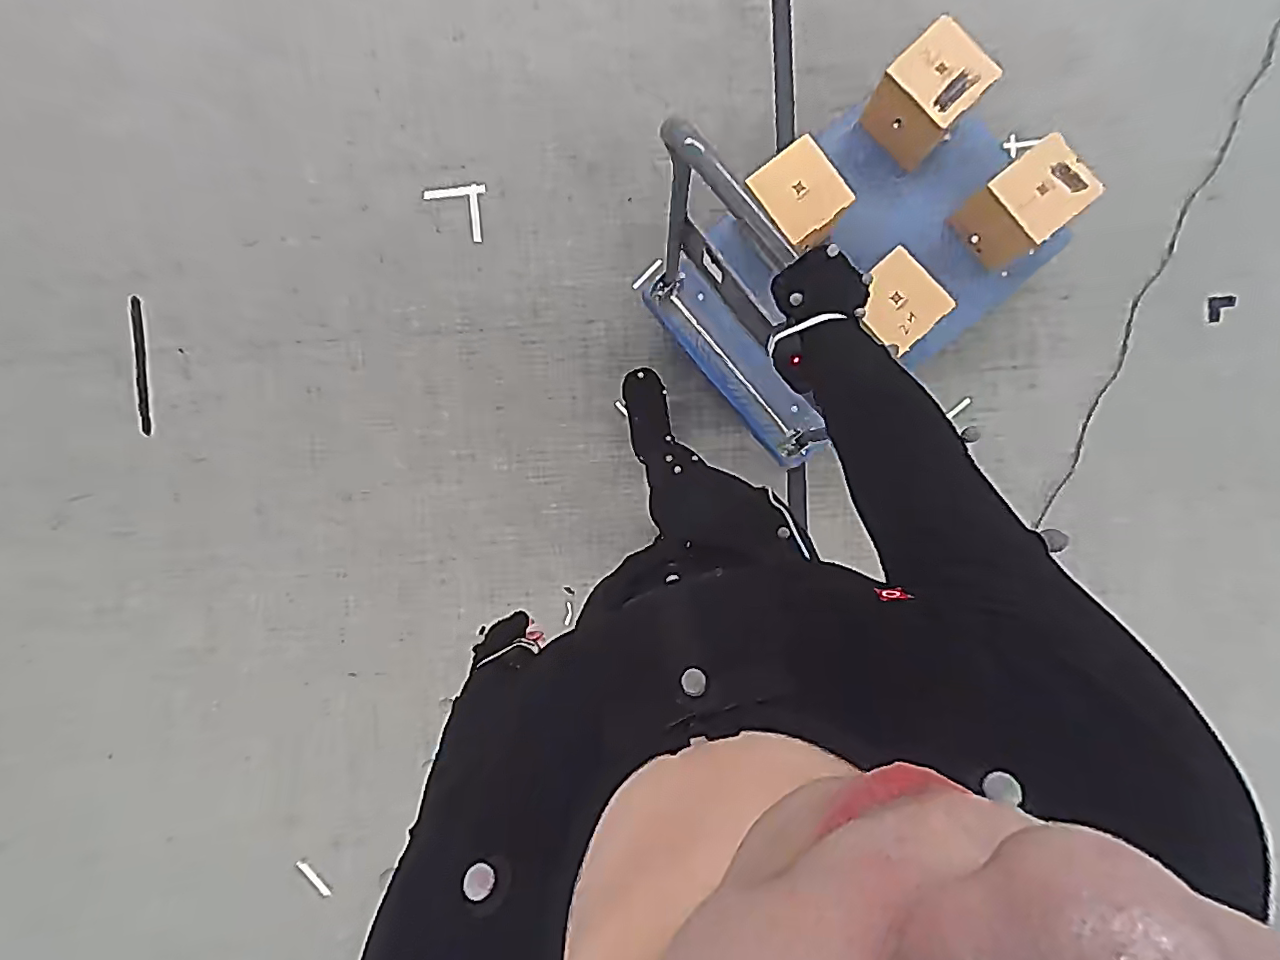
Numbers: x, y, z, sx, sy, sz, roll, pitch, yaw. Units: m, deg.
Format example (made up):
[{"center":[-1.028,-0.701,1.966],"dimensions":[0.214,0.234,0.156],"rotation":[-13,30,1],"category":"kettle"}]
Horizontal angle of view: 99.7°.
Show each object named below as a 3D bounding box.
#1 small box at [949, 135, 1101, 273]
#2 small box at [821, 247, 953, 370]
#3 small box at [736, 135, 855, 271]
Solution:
[{"center":[0.833,-0.597,1.191],"dimensions":[0.179,0.176,0.168],"rotation":[-39,89,3],"category":"small box"},{"center":[0.536,-0.370,1.204],"dimensions":[0.168,0.176,0.179],"rotation":[-42,89,2],"category":"small box"},{"center":[0.336,-0.607,1.210],"dimensions":[0.168,0.176,0.179],"rotation":[-37,91,2],"category":"small box"}]
